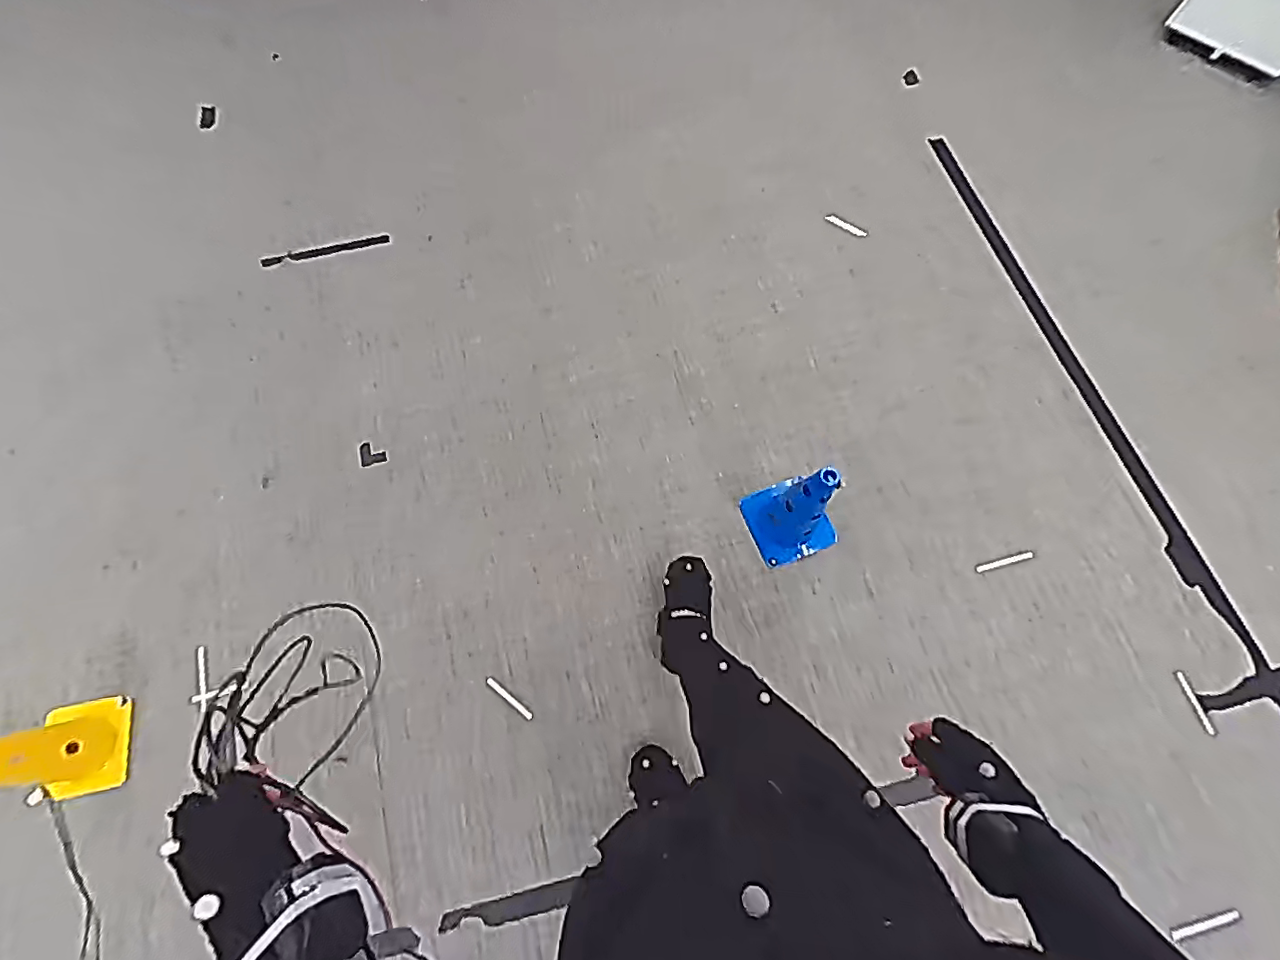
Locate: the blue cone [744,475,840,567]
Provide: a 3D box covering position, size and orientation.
[{"bbox_3d":[0.374,0.057,1.226,0.193,0.380,0.192,-20,73,-5],"label":"blue cone"}]
